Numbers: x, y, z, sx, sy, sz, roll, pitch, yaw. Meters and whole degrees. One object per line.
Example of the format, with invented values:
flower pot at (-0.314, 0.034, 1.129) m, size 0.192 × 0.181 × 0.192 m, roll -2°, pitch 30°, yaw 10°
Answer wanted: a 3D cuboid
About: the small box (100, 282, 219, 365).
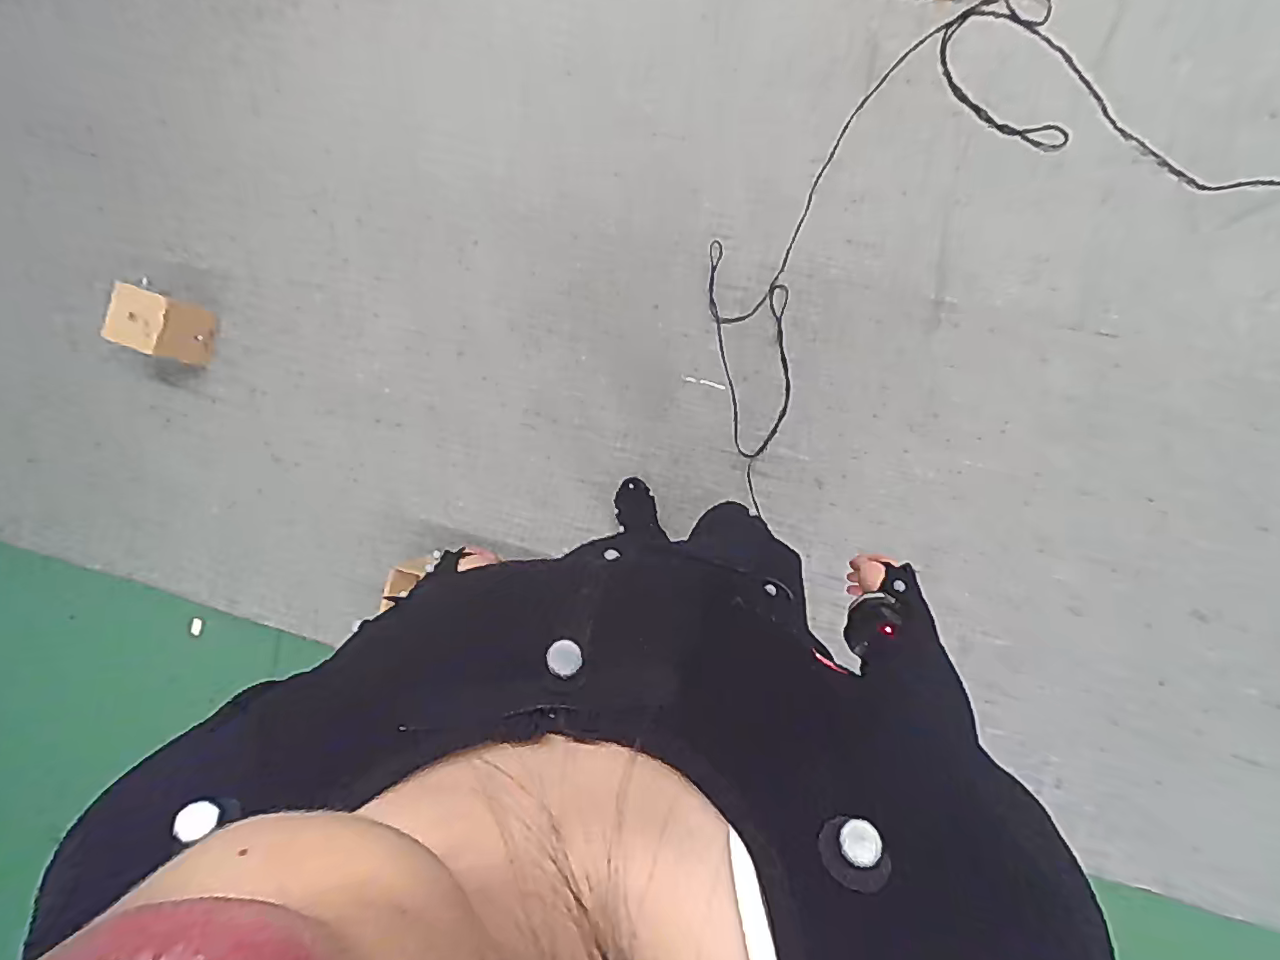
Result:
small box at (-1.385, -0.447, 1.568) m, size 0.179 × 0.176 × 0.168 m, roll 19°, pitch 93°, yaw 6°
